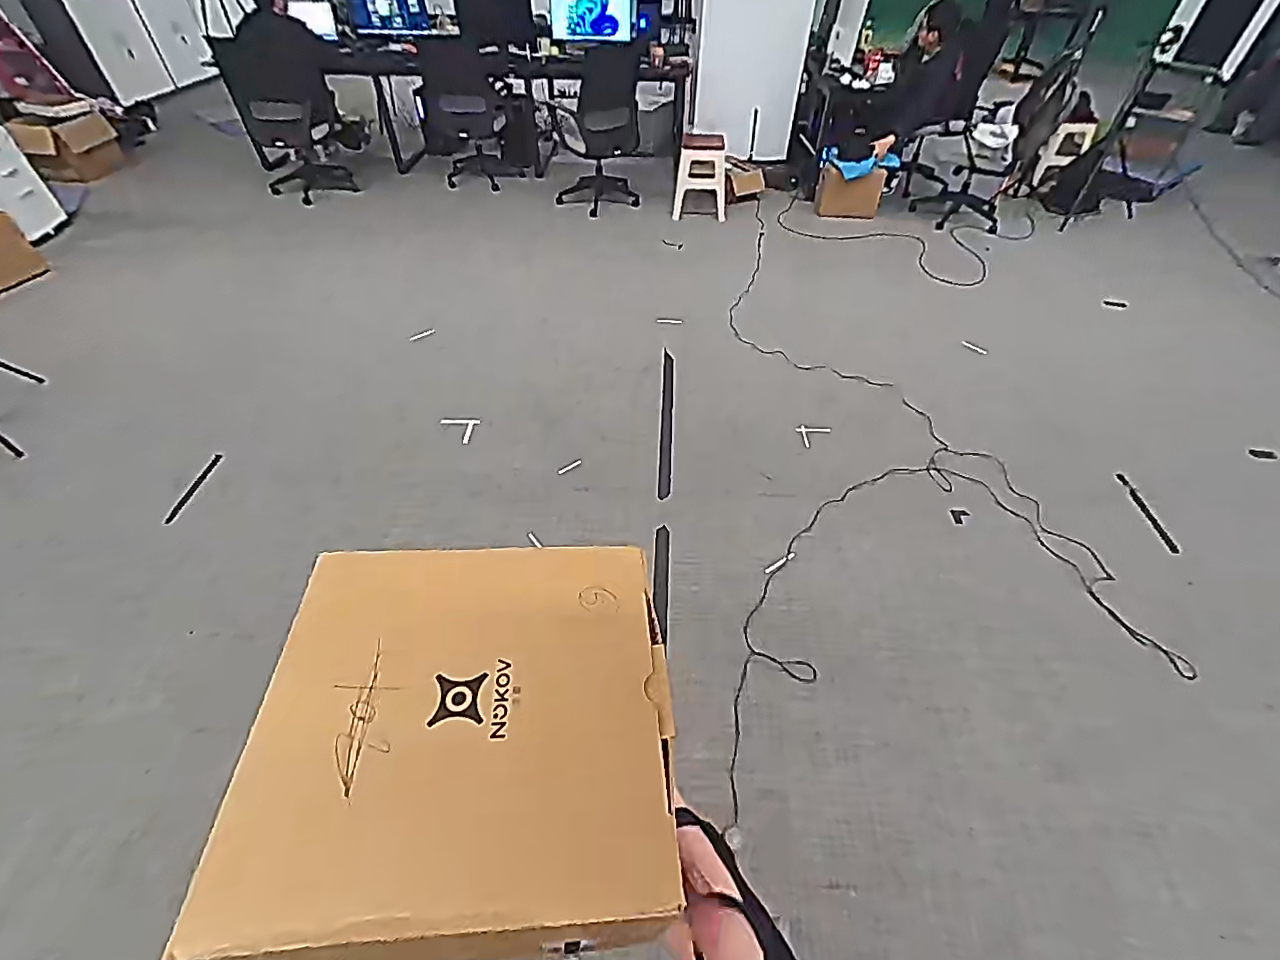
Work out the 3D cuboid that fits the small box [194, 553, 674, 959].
[{"bbox_3d":[-0.085,0.159,0.312,0.179,0.176,0.168,-1,46,-6],"label":"small box"}]
